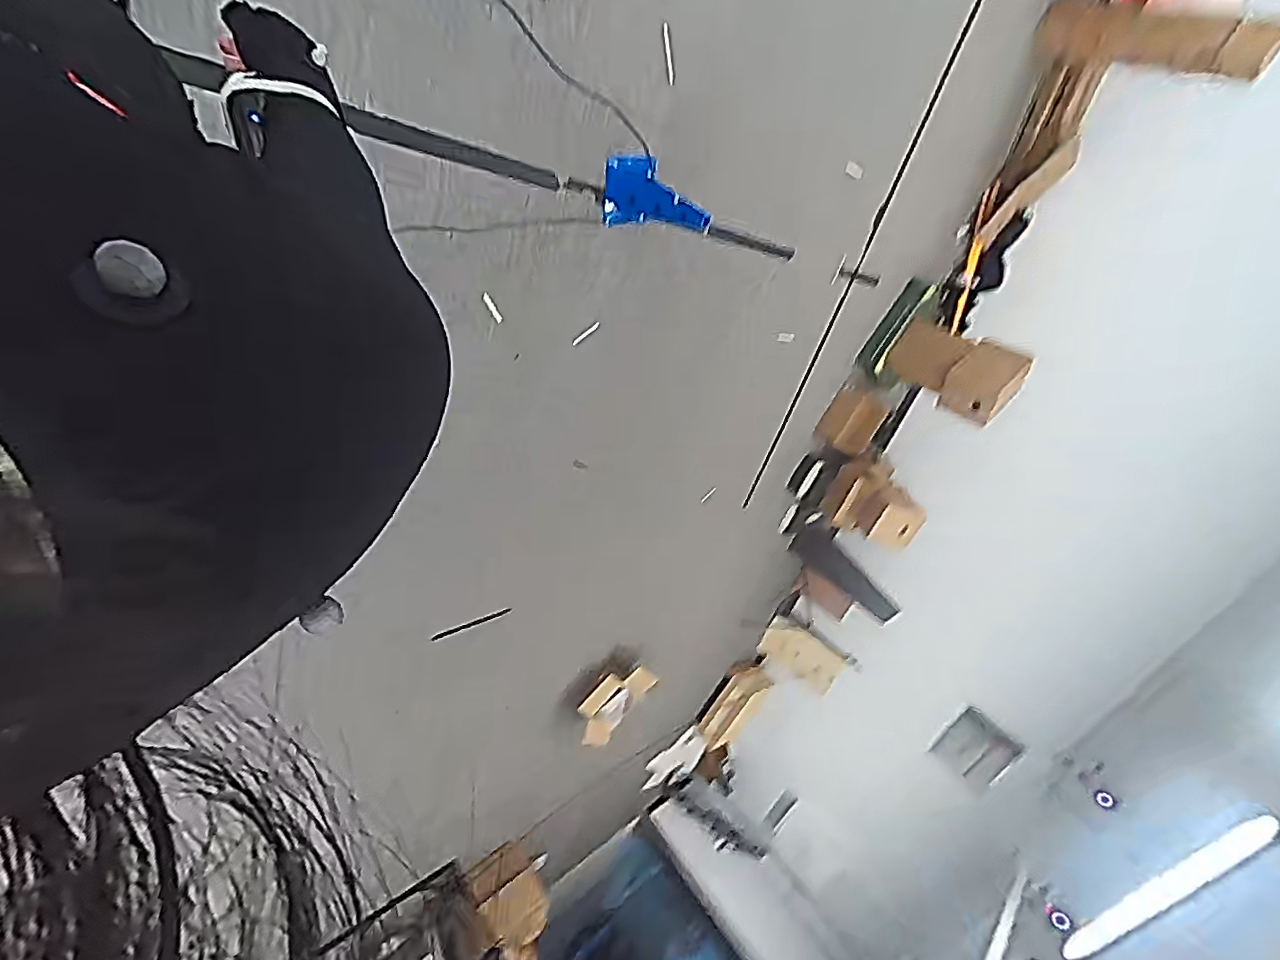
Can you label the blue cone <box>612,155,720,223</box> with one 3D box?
[{"bbox_3d":[0.091,-0.843,1.639,0.192,0.380,0.193,-26,138,-32],"label":"blue cone"}]
